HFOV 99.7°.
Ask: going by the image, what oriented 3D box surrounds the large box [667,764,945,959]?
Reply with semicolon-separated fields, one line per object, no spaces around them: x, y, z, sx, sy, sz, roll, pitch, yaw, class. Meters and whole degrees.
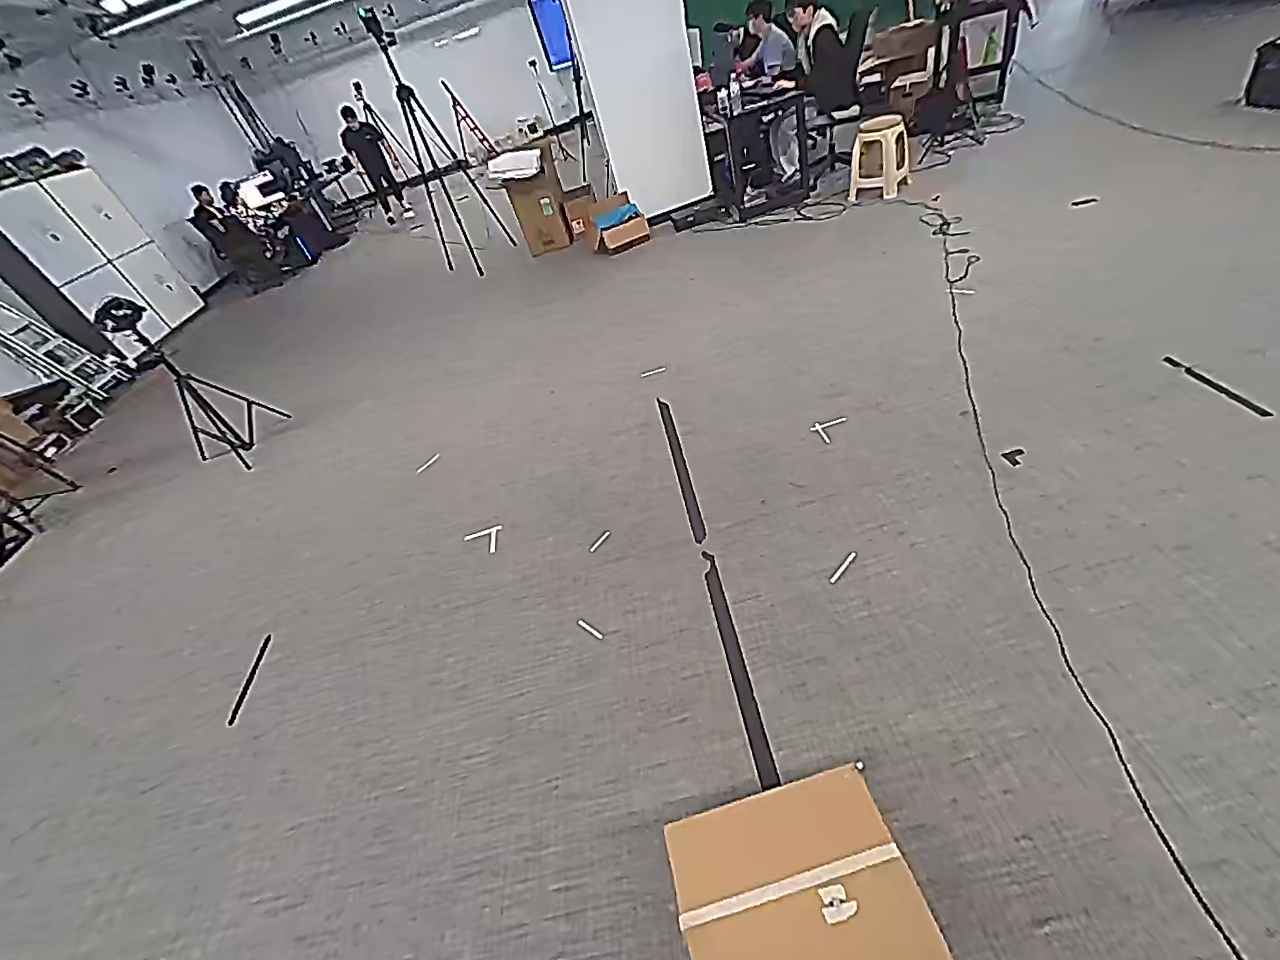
0.307;0.836;1.062;0.408;0.320;0.320;-19;39;1;large box
